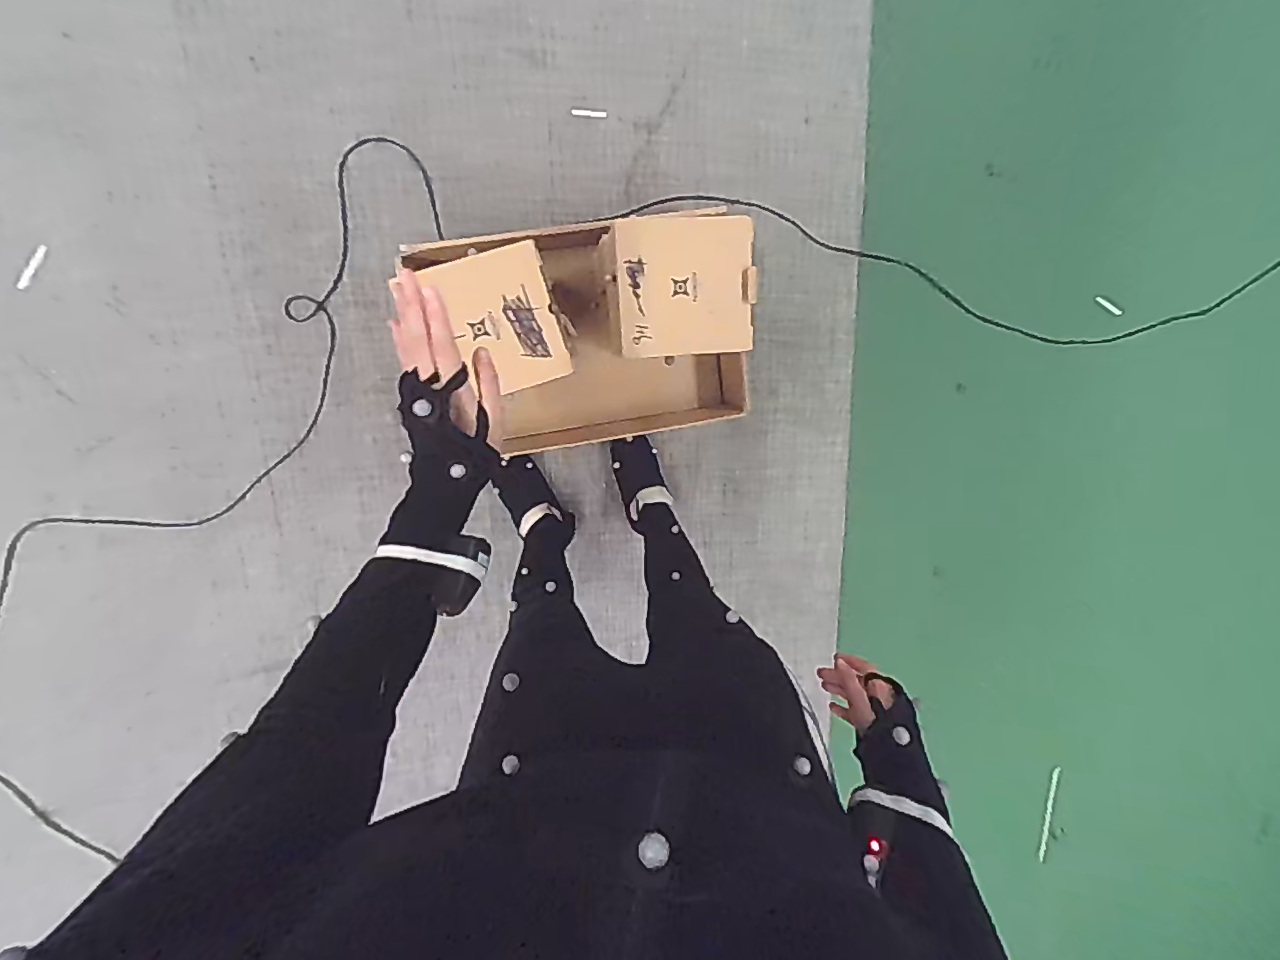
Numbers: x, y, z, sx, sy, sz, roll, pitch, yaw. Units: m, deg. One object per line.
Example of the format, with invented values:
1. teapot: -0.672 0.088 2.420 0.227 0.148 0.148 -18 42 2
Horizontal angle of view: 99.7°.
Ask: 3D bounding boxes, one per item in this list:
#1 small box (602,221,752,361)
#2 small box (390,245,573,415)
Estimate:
1. small box: 0.044 -0.256 0.754 0.179 0.176 0.168 -5 105 -7
2. small box: -0.203 -0.201 0.732 0.179 0.176 0.168 -19 107 -5
